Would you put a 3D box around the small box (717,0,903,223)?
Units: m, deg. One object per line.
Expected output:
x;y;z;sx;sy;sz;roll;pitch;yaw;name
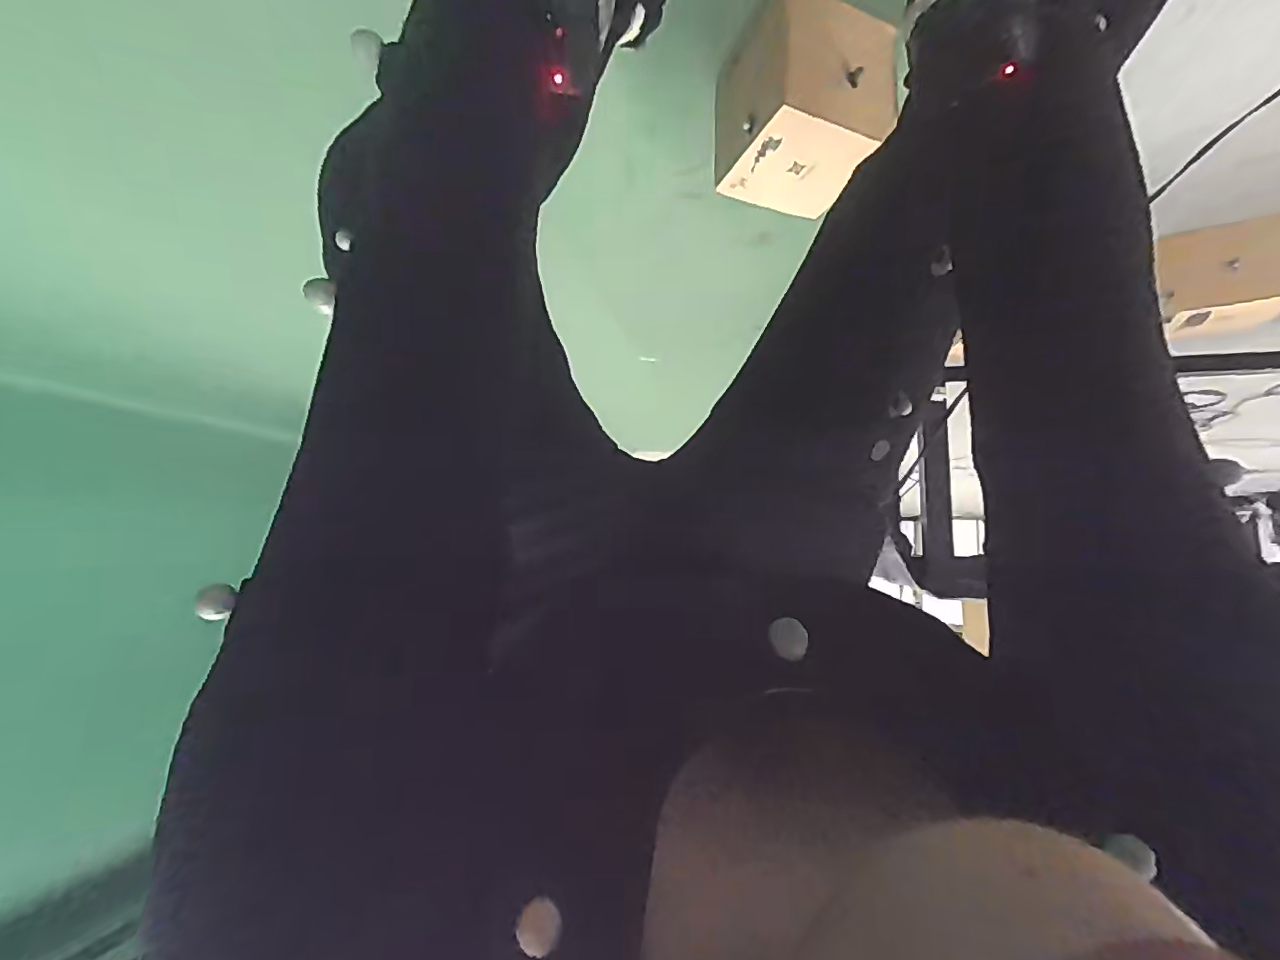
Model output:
0.217;-0.476;0.712;0.179;0.176;0.168;4;173;-21;small box
